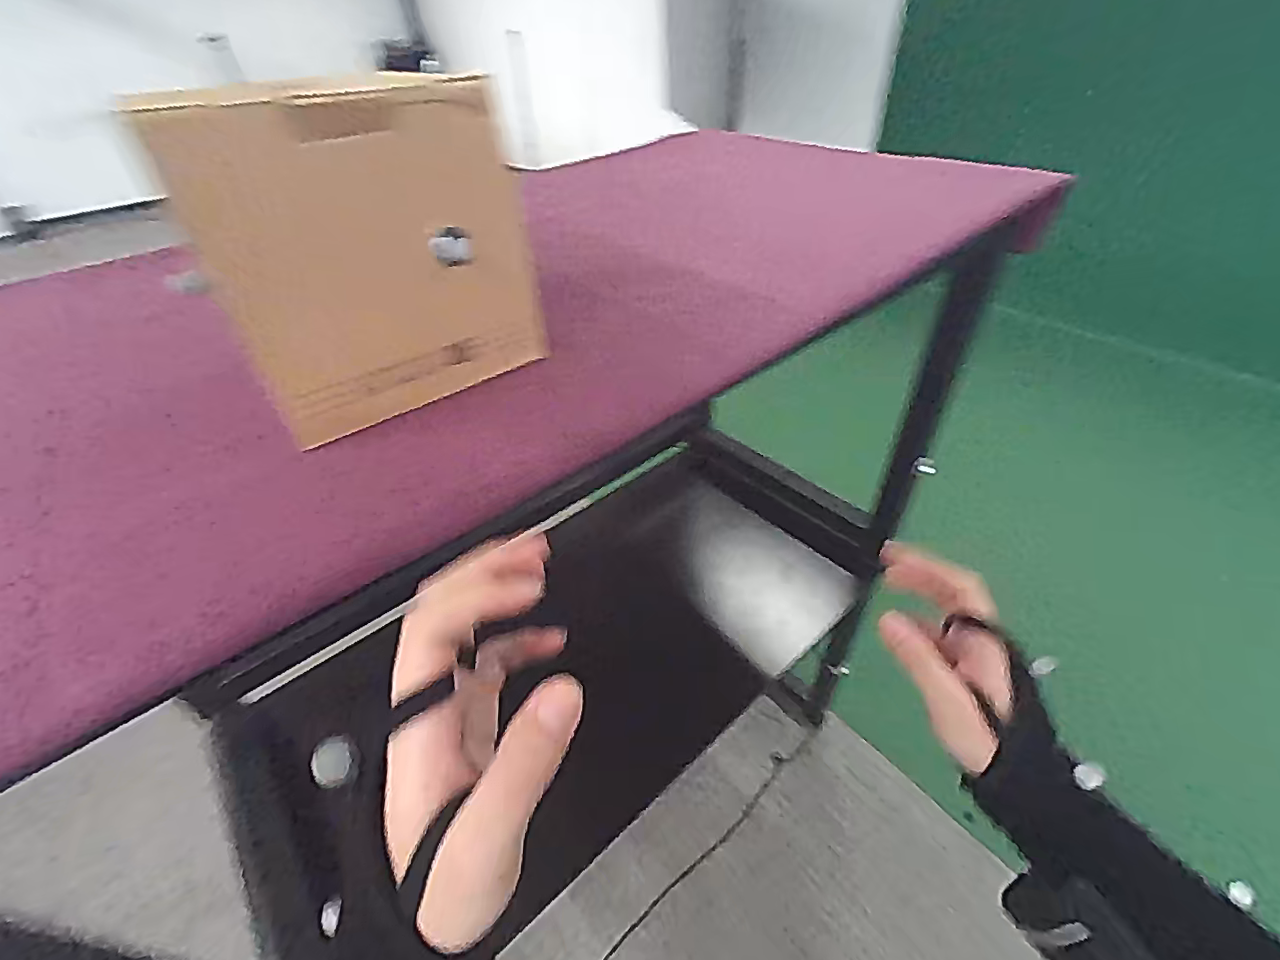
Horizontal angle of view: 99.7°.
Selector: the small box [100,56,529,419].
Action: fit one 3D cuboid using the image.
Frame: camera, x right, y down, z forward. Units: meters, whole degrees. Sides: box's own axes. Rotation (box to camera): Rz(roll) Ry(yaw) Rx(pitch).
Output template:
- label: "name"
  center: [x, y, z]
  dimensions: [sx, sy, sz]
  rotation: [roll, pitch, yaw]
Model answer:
- label: "small box"
  center: [-0.191, -0.159, 0.349]
  dimensions: [0.168, 0.176, 0.179]
  rotation: [-29, 45, -27]
